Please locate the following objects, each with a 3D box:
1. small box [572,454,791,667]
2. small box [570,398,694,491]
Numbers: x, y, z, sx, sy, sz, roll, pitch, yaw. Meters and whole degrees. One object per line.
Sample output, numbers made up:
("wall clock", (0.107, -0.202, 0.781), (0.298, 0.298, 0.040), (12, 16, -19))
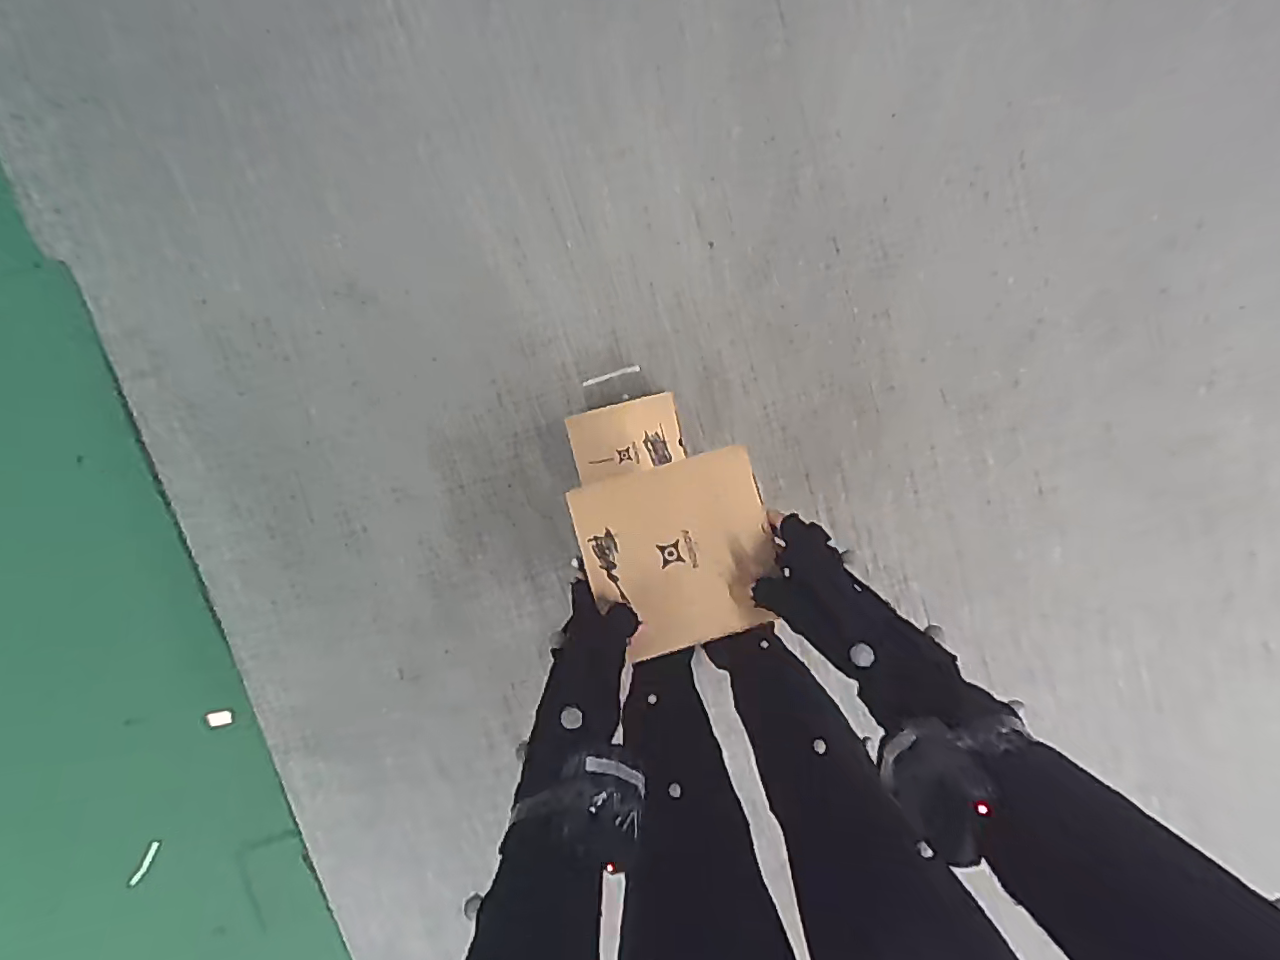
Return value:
("small box", (0.036, 0.080, 0.583), (0.179, 0.176, 0.168), (-15, 84, -2))
("small box", (-0.007, -0.041, 0.931), (0.179, 0.176, 0.168), (-16, 97, 3))
